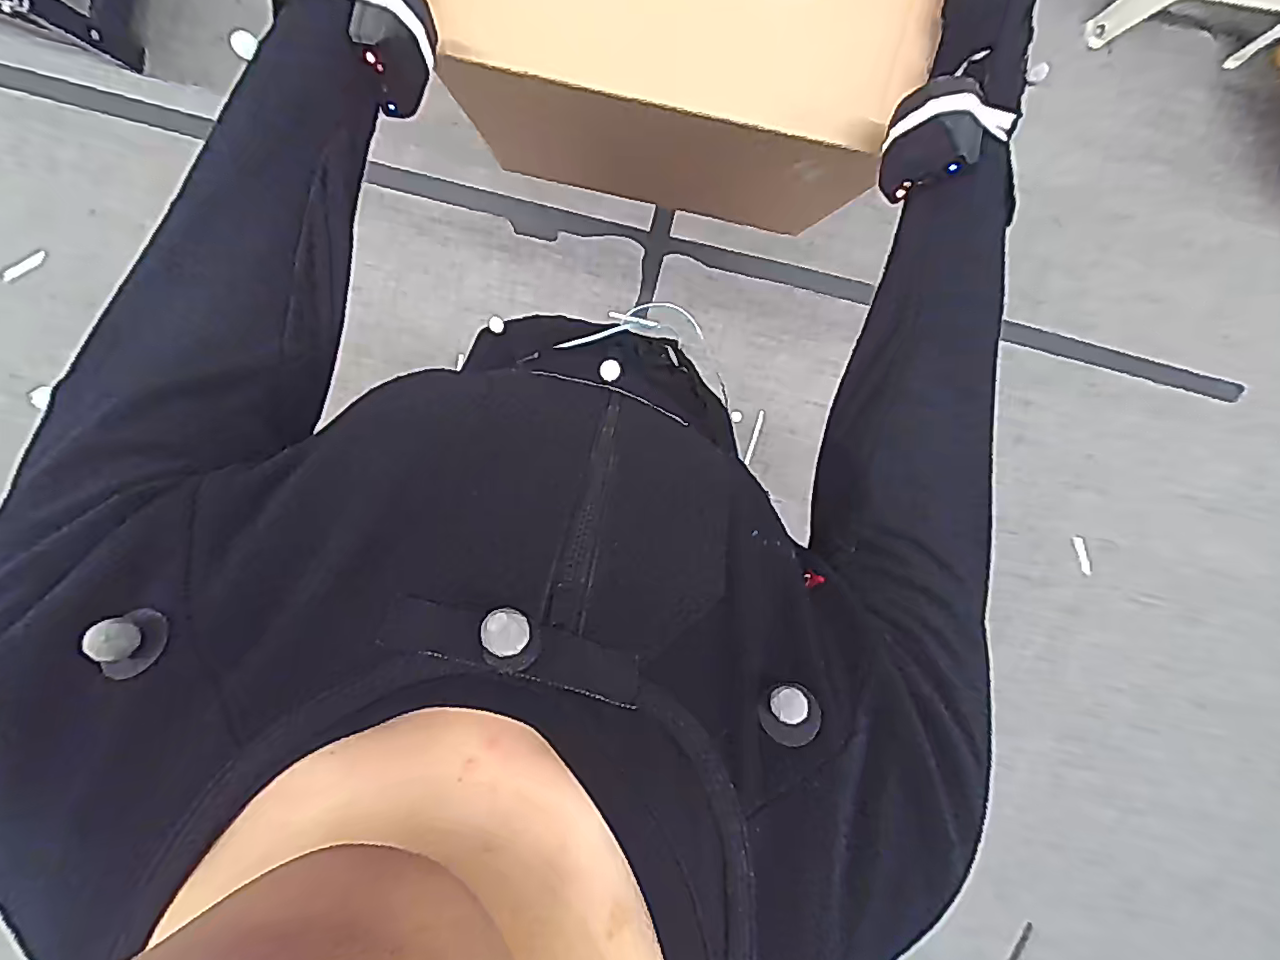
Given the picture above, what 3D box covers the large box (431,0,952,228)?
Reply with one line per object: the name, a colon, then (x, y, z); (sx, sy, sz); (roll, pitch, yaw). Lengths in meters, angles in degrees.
large box: (0.051, -0.483, 0.543); (0.408, 0.320, 0.320); (11, 105, -5)
